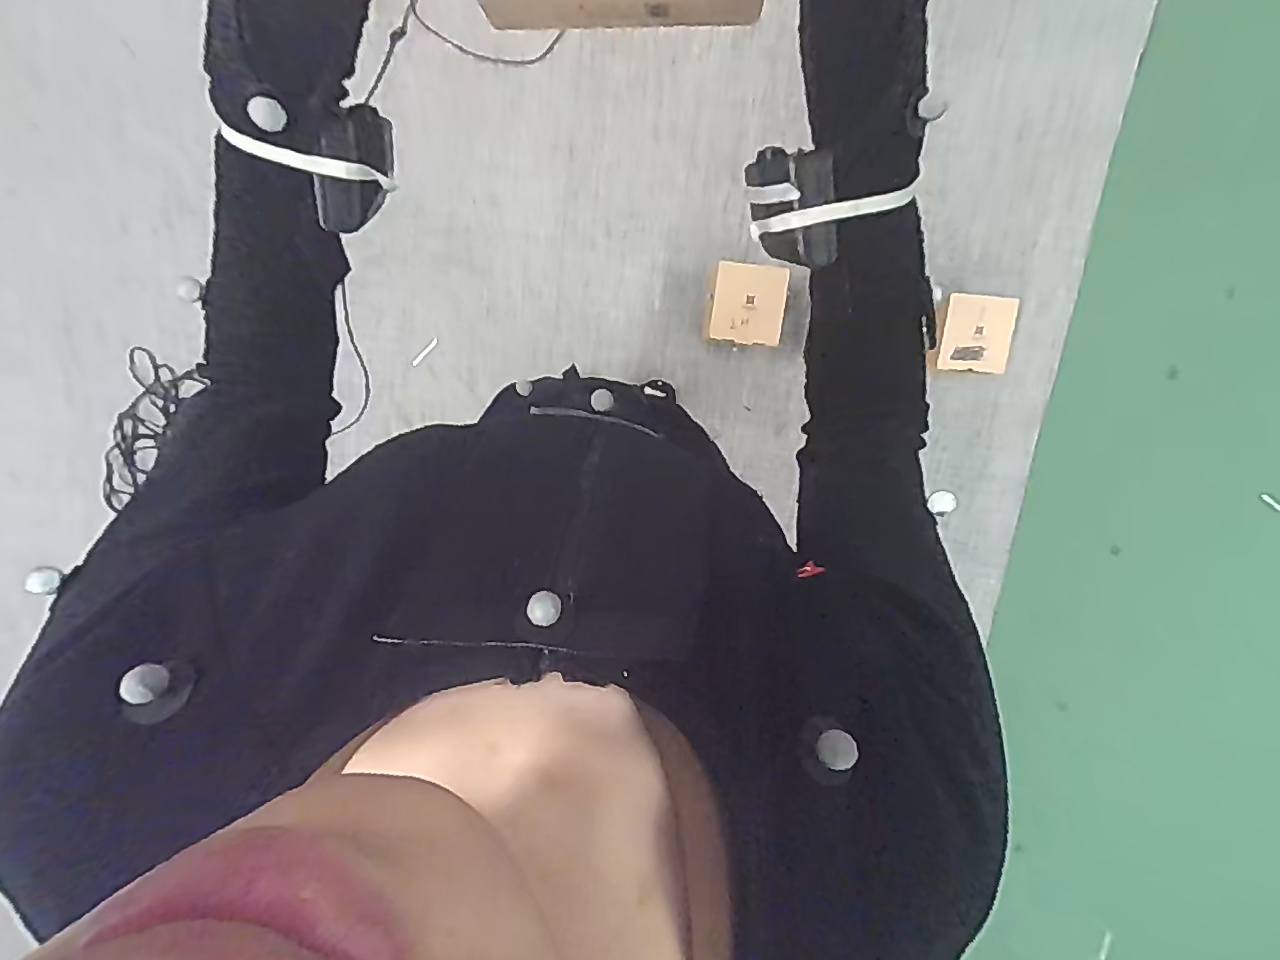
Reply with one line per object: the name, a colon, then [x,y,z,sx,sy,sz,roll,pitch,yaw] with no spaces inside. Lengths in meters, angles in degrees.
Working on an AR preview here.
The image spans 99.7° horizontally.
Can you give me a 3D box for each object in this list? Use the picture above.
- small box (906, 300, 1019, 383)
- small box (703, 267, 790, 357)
small box: [0.784,-0.336,1.336,0.168,0.176,0.179,5,100,-2]
small box: [0.251,-0.402,1.318,0.168,0.176,0.179,7,101,-1]
